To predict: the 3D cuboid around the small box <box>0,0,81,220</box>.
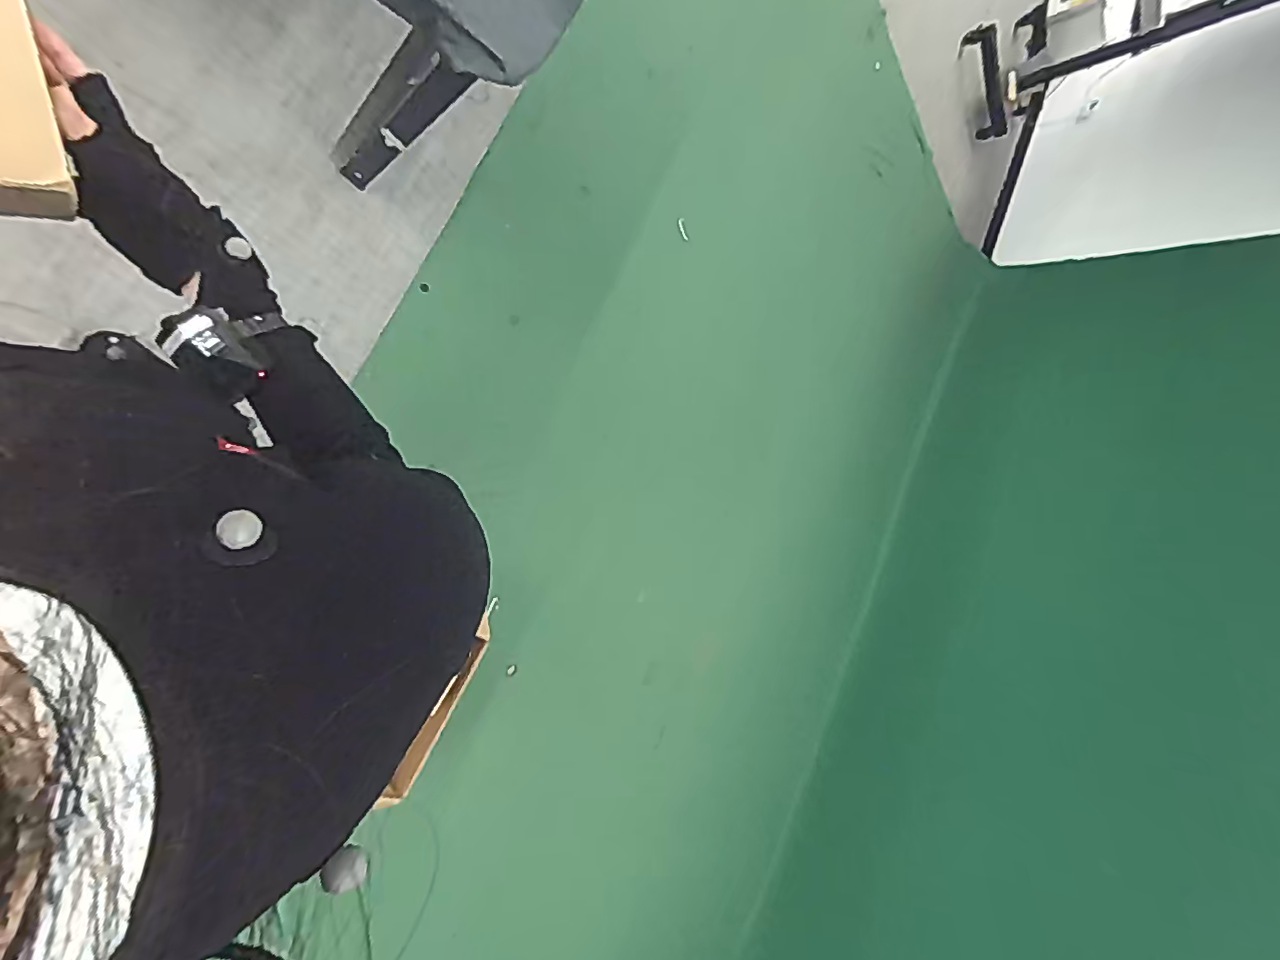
[{"bbox_3d":[-0.443,-0.253,0.292,0.168,0.176,0.179,-16,114,-43],"label":"small box"}]
